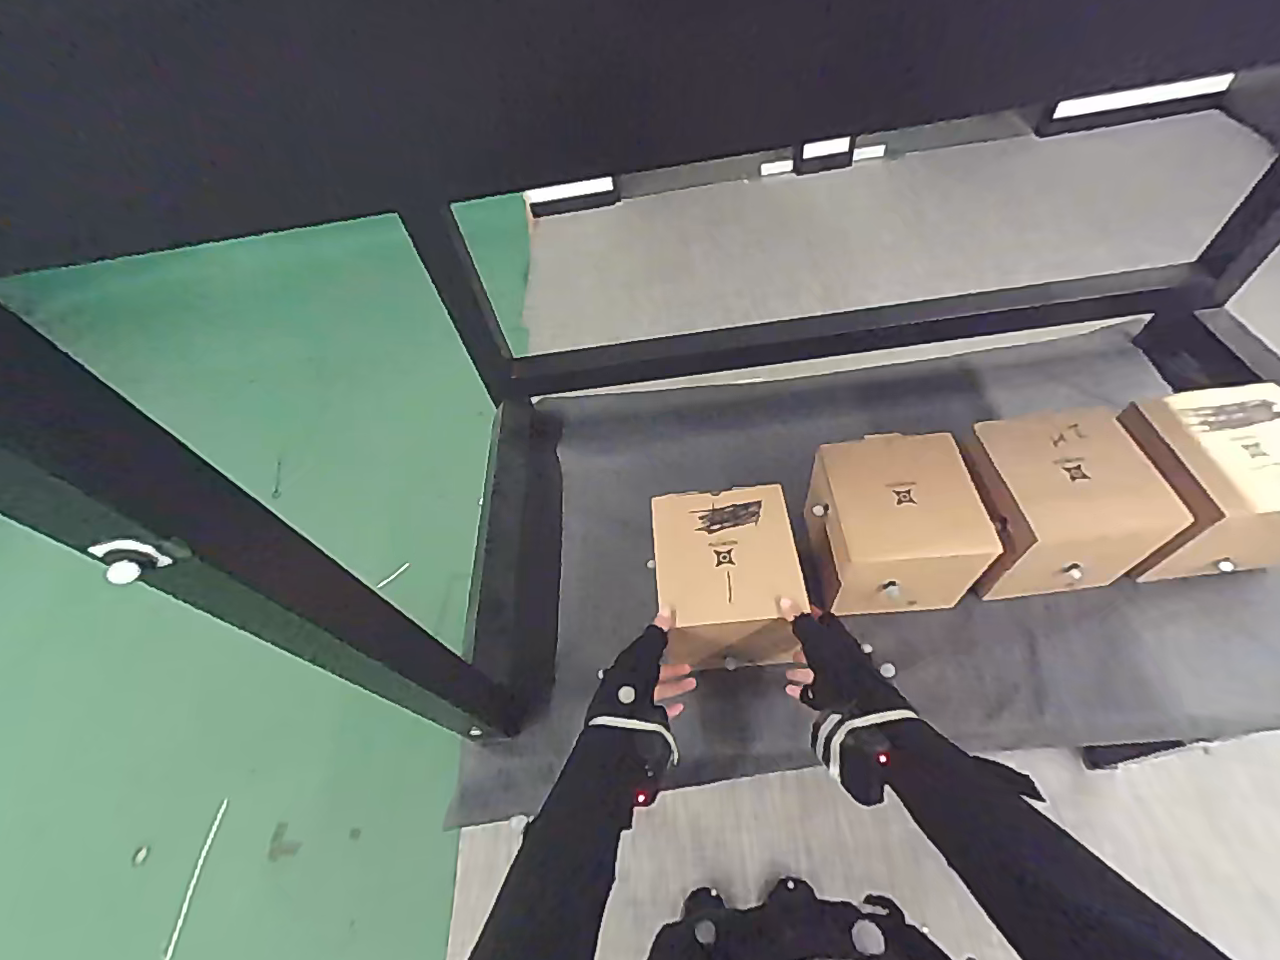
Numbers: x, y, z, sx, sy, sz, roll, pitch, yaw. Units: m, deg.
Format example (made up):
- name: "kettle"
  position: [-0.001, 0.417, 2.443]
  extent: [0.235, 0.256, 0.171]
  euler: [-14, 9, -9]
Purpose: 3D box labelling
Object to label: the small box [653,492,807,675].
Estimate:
- name: "small box"
  position: [0.108, 0.139, 0.708]
  extent: [0.168, 0.176, 0.179]
  euler: [-7, 54, 4]
